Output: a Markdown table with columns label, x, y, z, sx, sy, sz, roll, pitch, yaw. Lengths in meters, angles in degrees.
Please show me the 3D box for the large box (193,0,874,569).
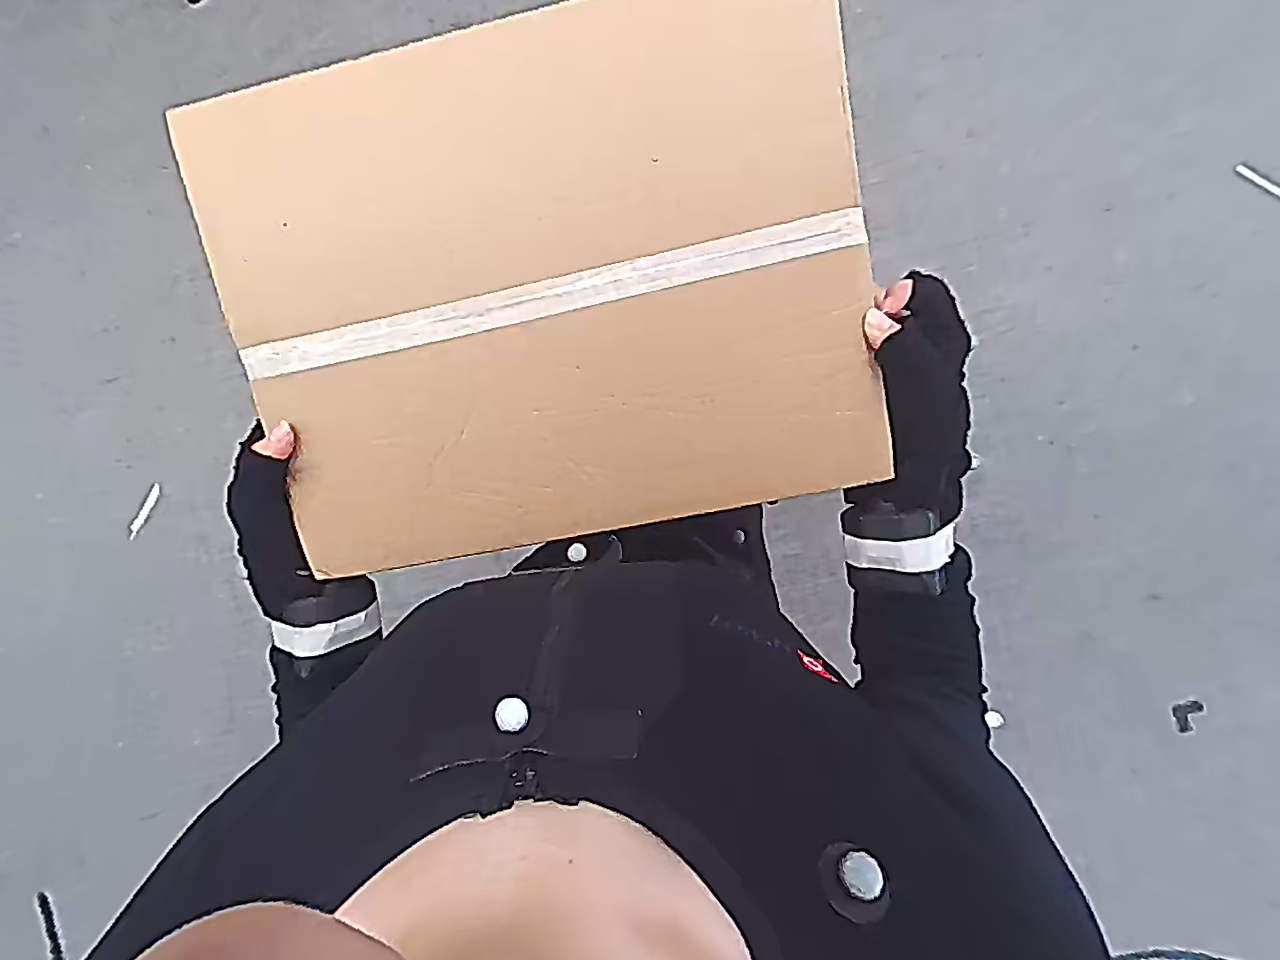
| label | x | y | z | sx | sy | sz | roll | pitch | yaw |
| --- | --- | --- | --- | --- | --- | --- | --- | --- | --- |
| large box | -0.055 | -0.147 | 0.500 | 0.408 | 0.320 | 0.320 | -11 | 100 | 6 |
